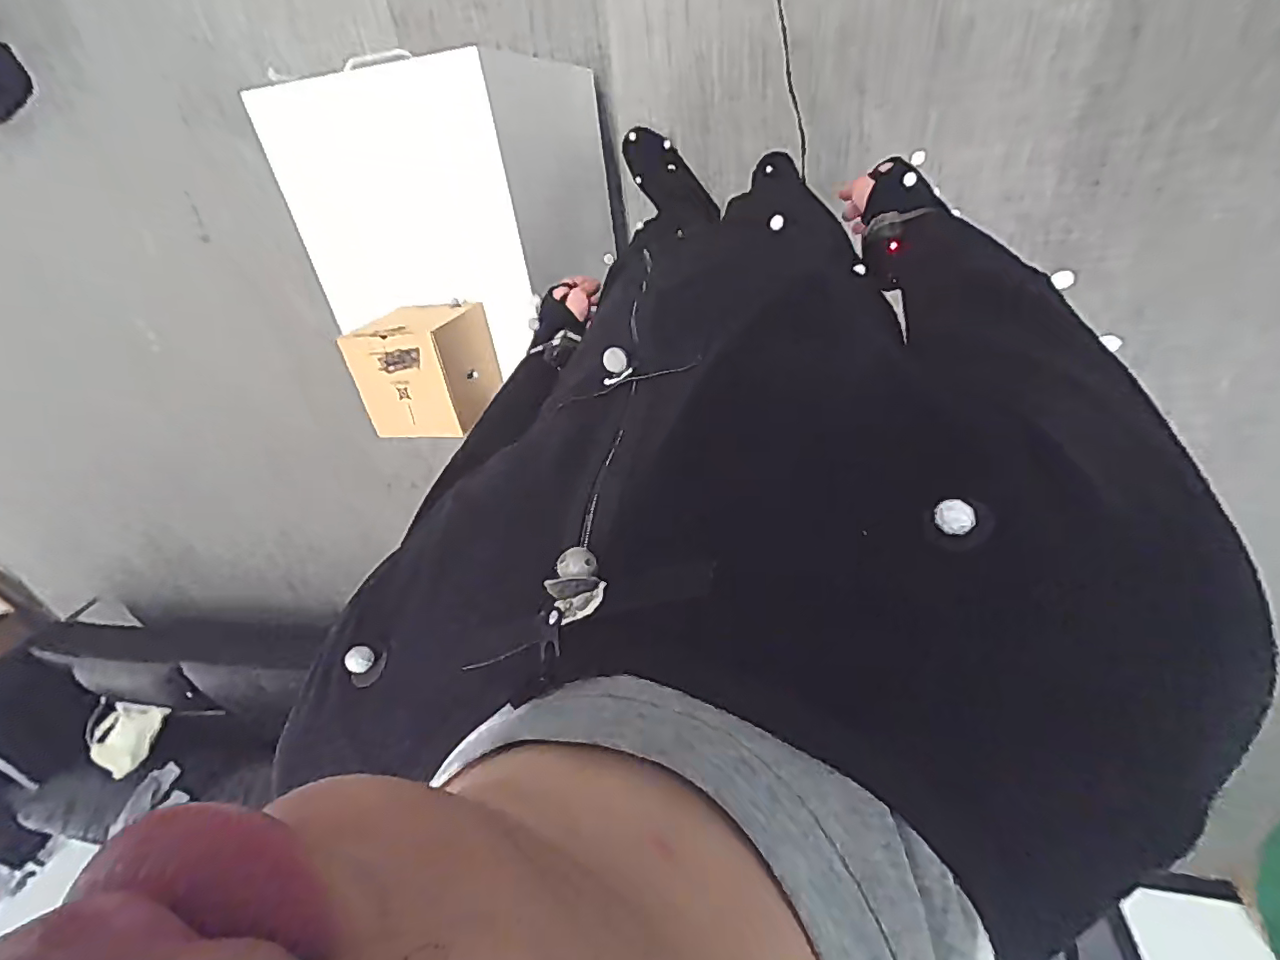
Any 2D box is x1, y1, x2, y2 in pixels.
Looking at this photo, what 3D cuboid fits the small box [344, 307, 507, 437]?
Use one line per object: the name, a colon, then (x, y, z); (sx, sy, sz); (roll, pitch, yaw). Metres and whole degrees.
small box: (-0.350, -0.188, 0.919); (0.168, 0.176, 0.179); (1, 124, 14)
